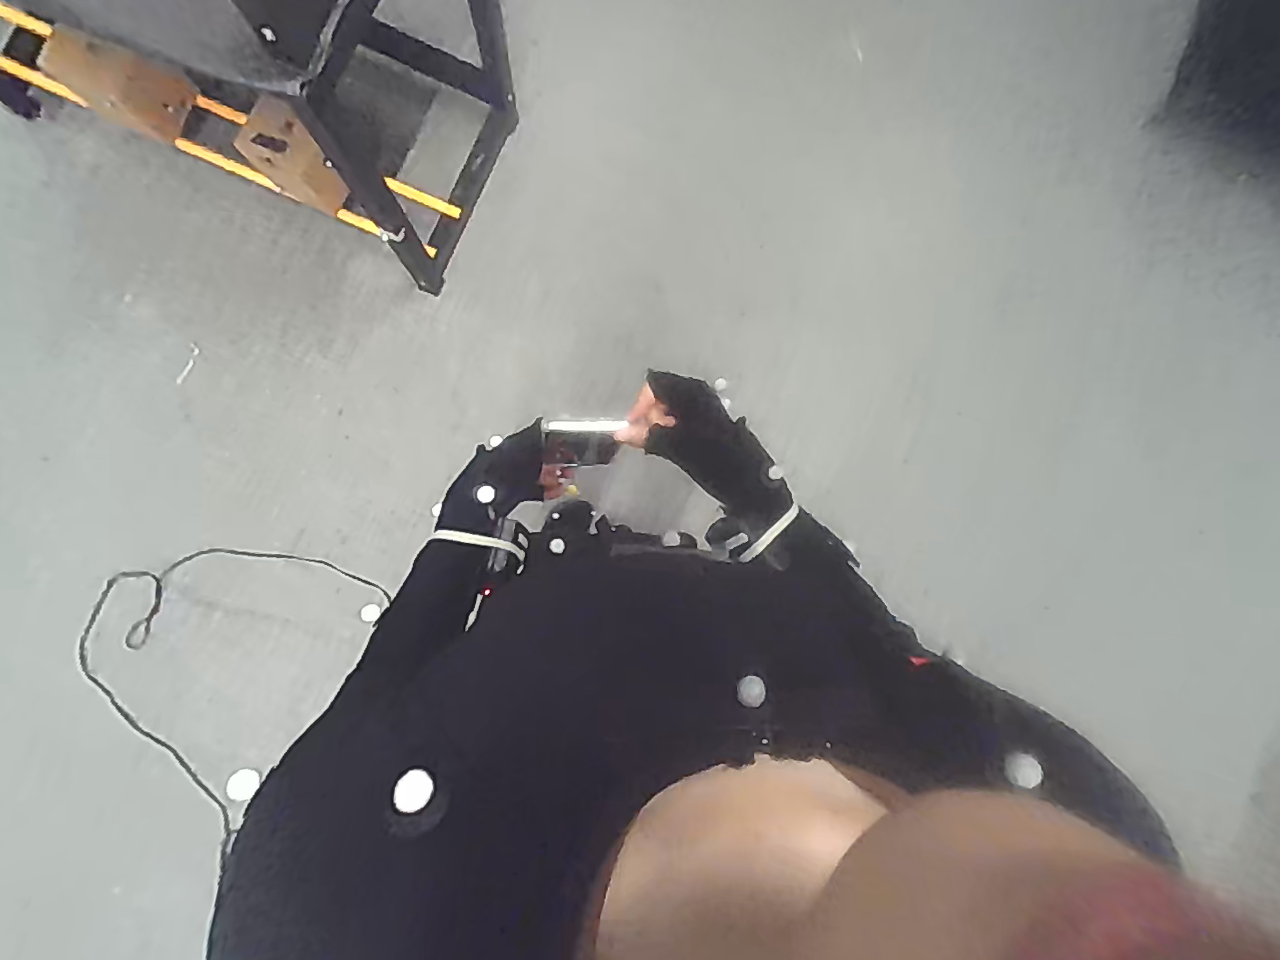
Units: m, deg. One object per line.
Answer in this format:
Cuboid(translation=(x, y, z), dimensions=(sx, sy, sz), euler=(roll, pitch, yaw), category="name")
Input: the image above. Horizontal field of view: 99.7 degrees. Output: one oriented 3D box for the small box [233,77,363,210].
Cuboid(translation=(-0.796, -0.785, 1.282), dimensions=(0.168, 0.176, 0.179), euler=(27, 84, -4), category="small box")
